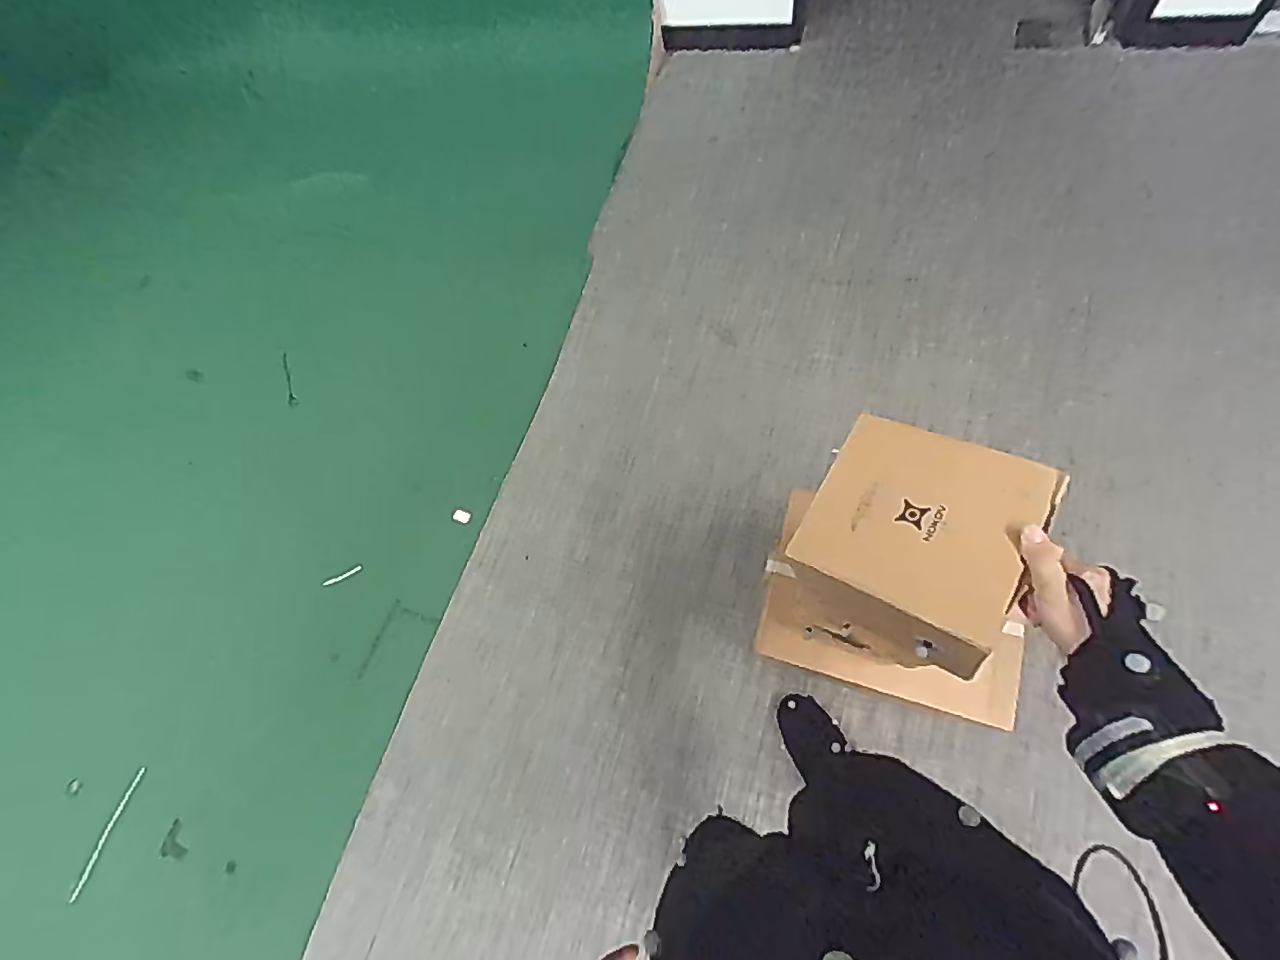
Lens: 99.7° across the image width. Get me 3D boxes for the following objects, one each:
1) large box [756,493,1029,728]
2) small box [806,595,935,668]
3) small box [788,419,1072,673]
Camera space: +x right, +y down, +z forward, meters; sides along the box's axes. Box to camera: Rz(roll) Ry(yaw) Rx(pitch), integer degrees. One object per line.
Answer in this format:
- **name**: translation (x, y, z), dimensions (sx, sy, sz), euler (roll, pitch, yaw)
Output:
- **large box**: translation (0.459, 0.253, 1.060), dimensions (0.408, 0.320, 0.320), euler (13, 74, 15)
- **small box**: translation (0.327, 0.121, 0.696), dimensions (0.168, 0.176, 0.179), euler (28, 78, 20)
- **small box**: translation (0.273, 0.071, 0.532), dimensions (0.179, 0.176, 0.168), euler (24, 75, 33)
